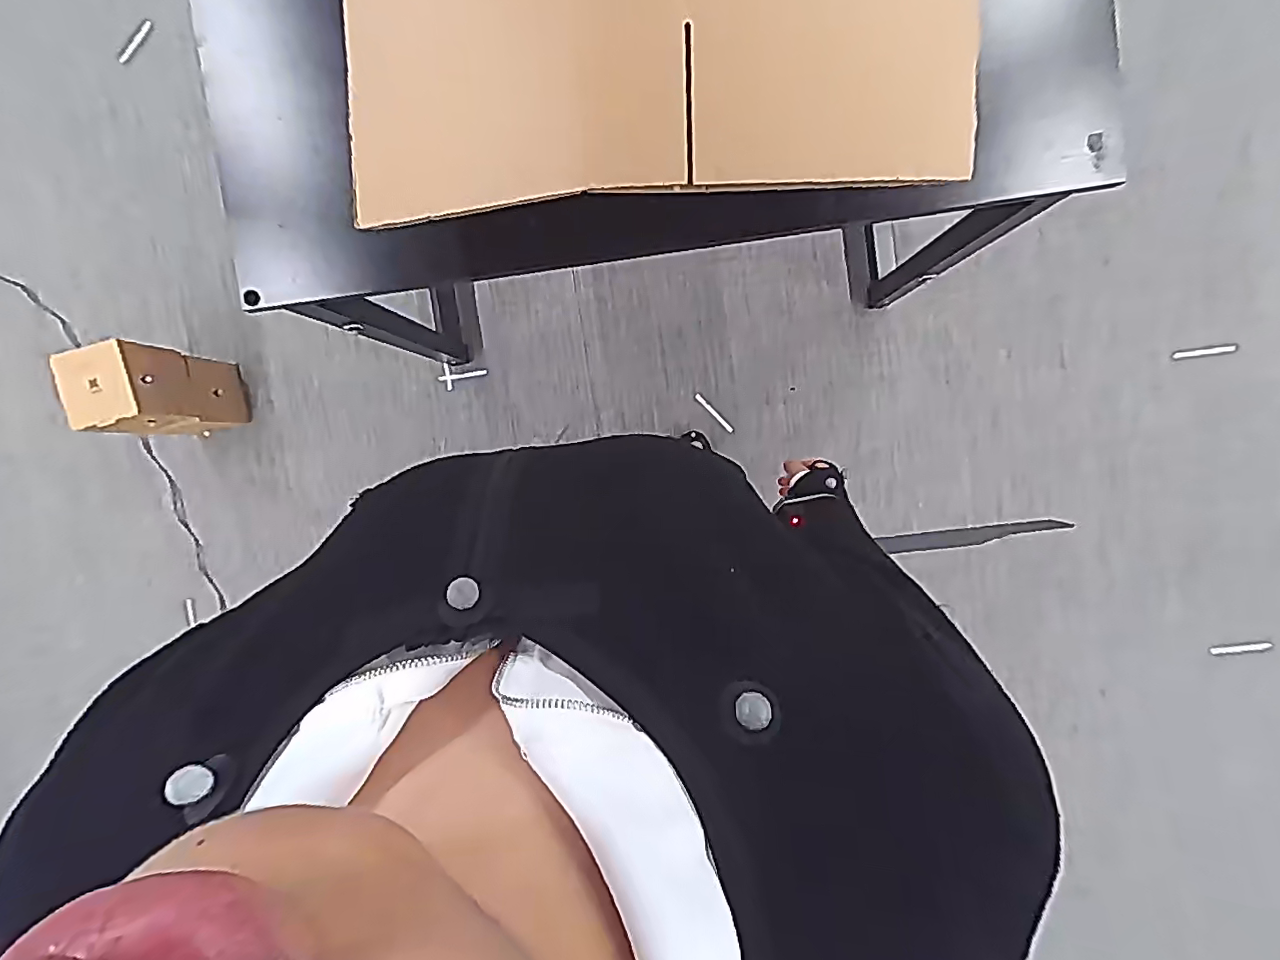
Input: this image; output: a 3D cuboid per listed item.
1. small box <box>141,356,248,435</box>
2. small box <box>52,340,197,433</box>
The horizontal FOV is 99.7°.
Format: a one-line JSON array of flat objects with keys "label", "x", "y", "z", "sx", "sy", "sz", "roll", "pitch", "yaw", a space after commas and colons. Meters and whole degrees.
[{"label": "small box", "x": -1.201, "y": -0.219, "z": 1.448, "sx": 0.168, "sy": 0.176, "sz": 0.179, "roll": -11, "pitch": 94, "yaw": 3}, {"label": "small box", "x": -1.211, "y": -0.214, "z": 1.286, "sx": 0.168, "sy": 0.176, "sz": 0.179, "roll": -14, "pitch": 92, "yaw": 2}]
